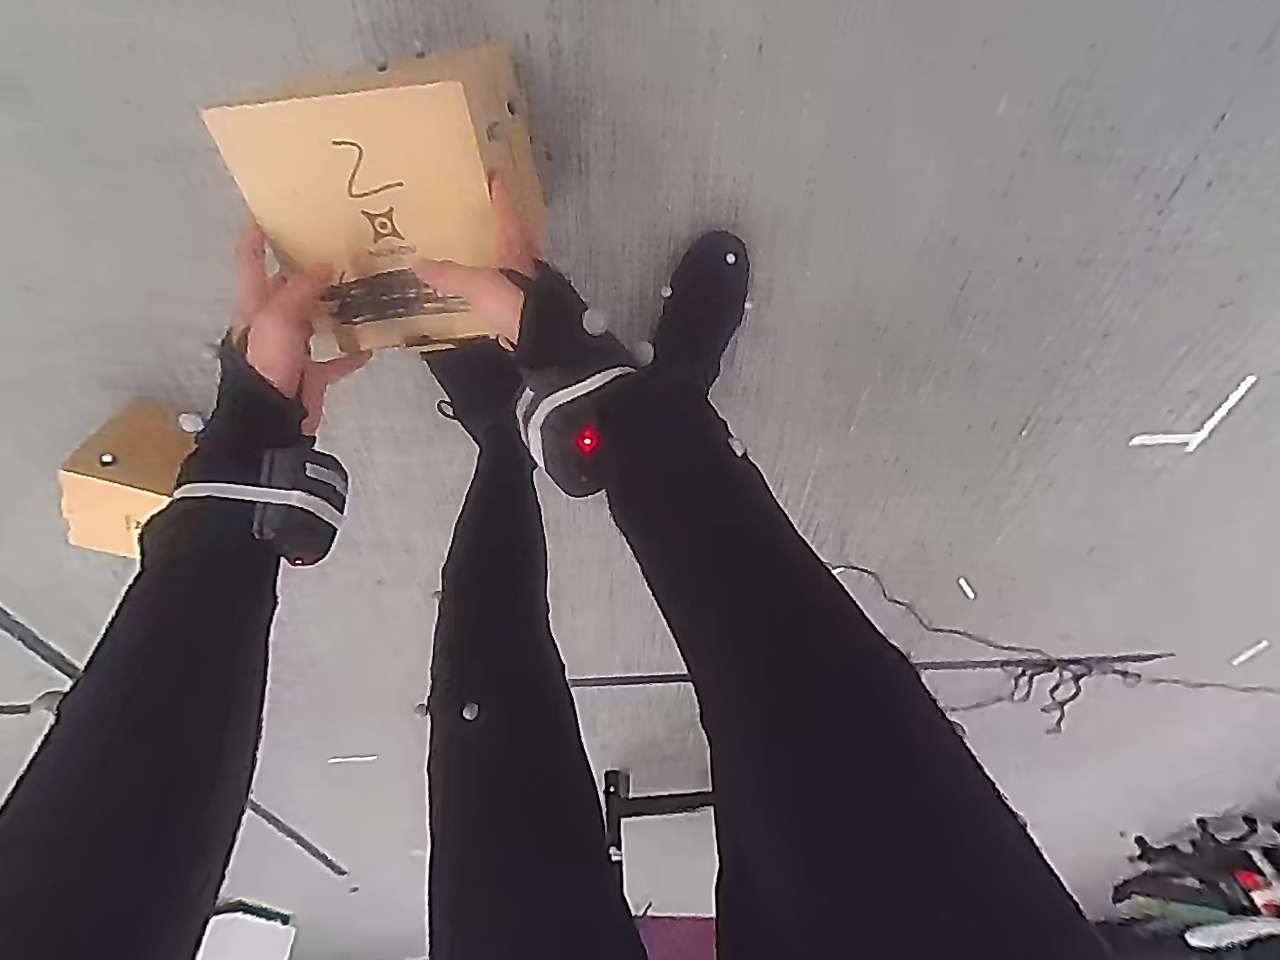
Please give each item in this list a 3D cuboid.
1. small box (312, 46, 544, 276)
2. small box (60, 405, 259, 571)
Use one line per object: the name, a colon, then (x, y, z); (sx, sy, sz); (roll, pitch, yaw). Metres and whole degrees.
small box: (-0.204, -0.345, 0.580); (0.168, 0.176, 0.179); (-9, 132, 1)
small box: (-0.727, 0.010, 0.840); (0.179, 0.176, 0.168); (20, 127, -22)
